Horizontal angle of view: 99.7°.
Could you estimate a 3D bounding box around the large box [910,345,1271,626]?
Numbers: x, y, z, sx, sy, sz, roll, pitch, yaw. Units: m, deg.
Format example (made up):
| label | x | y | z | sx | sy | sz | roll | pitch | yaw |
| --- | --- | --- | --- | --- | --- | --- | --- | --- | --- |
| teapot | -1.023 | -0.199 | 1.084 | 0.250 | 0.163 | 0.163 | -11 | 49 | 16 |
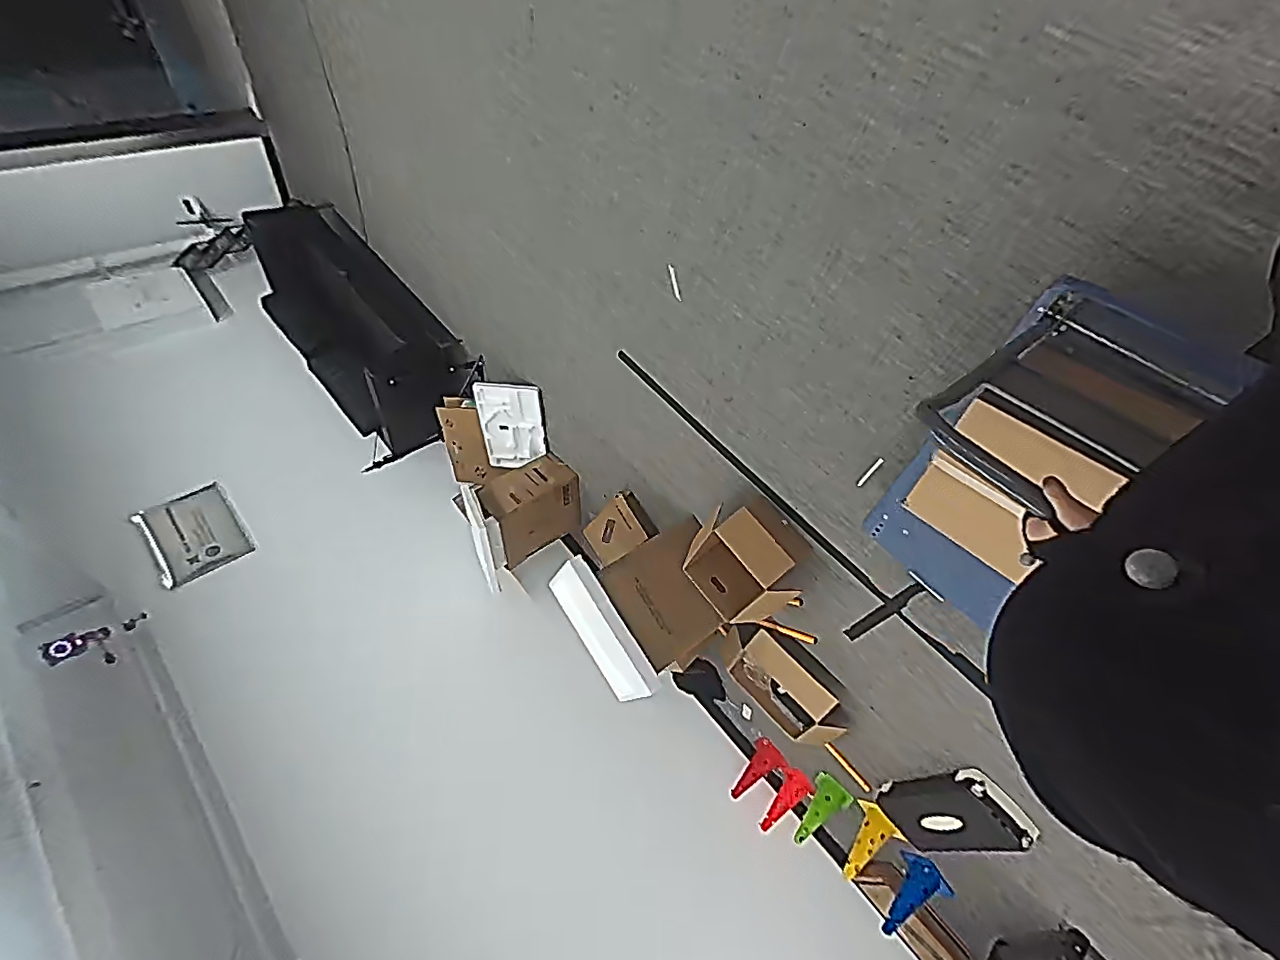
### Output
| label | x | y | z | sx | sy | sz | roll | pitch | yaw |
| --- | --- | --- | --- | --- | --- | --- | --- | --- | --- |
| large box | 0.851 | -0.004 | 1.069 | 0.408 | 0.320 | 0.320 | 42 | 145 | 28 |
